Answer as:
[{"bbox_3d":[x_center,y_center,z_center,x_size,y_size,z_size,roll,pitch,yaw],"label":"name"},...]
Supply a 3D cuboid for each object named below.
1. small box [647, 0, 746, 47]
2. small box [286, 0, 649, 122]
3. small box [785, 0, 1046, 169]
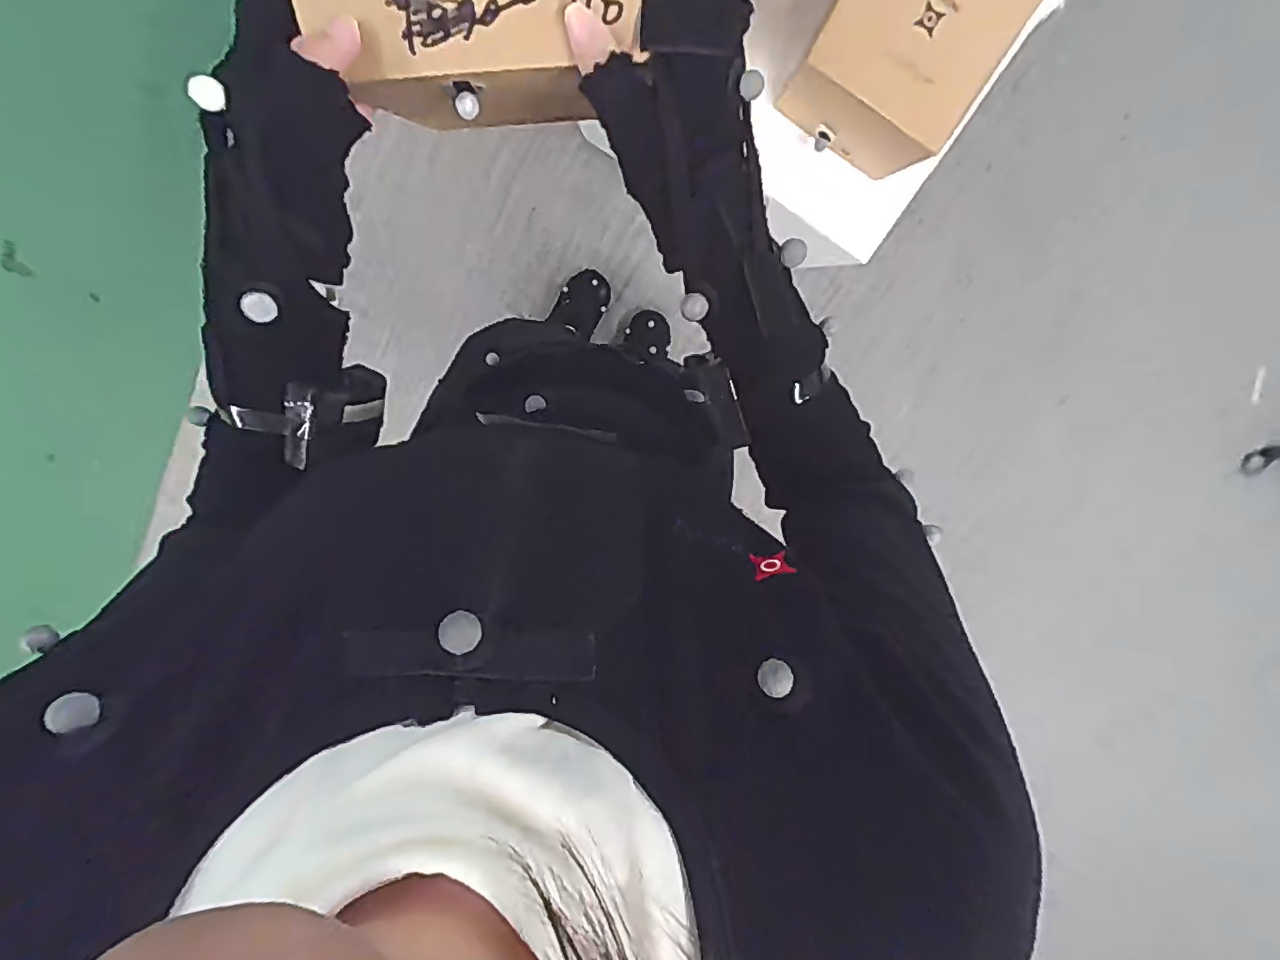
[{"bbox_3d":[0.062,-0.587,0.534,0.168,0.176,0.179,28,108,-9],"label":"small box"},{"bbox_3d":[-0.085,-0.311,0.289,0.168,0.176,0.179,-4,118,1],"label":"small box"},{"bbox_3d":[0.273,-0.461,0.561,0.168,0.176,0.179,28,111,-8],"label":"small box"}]
